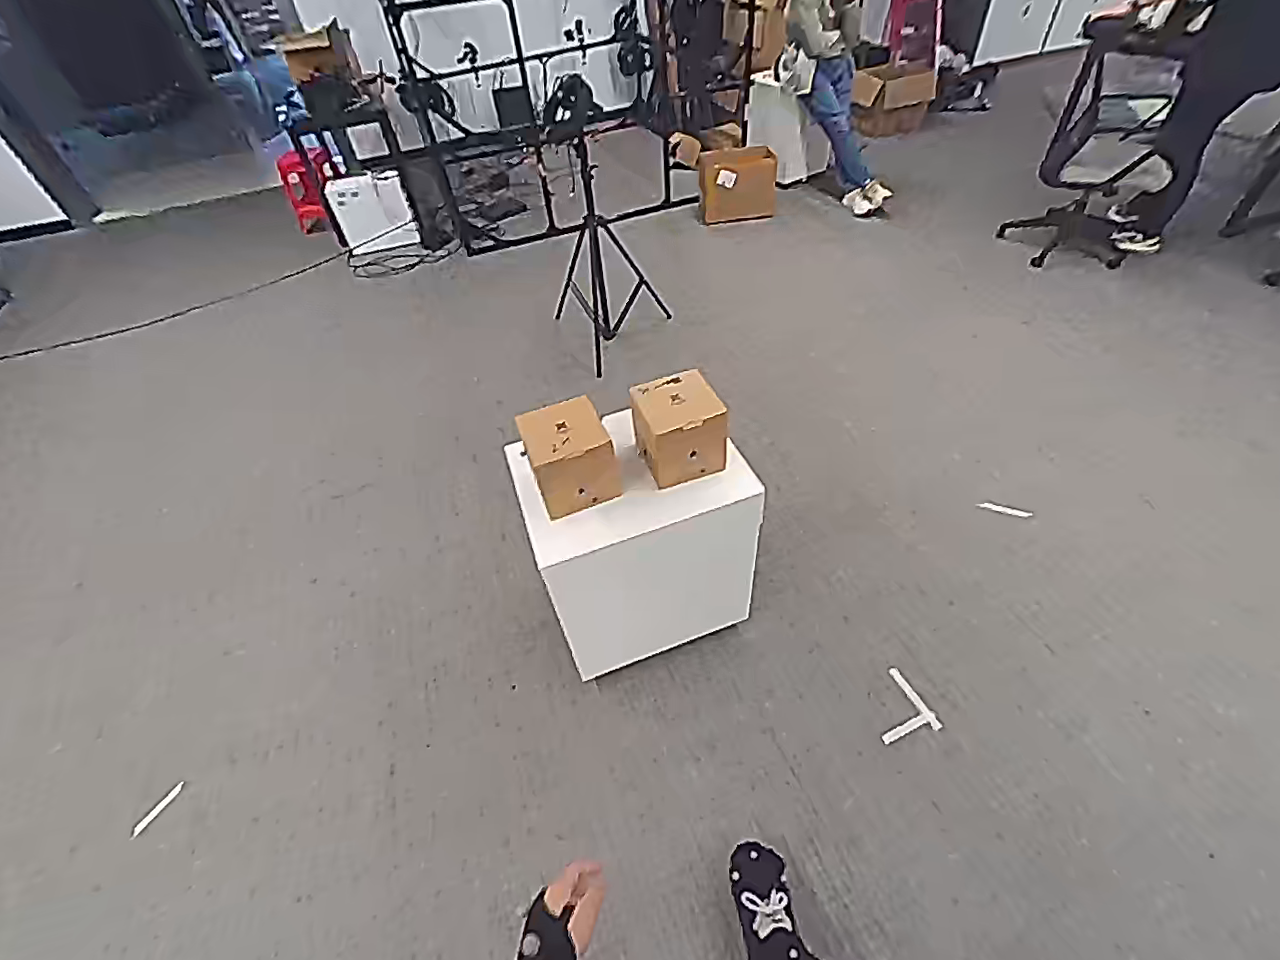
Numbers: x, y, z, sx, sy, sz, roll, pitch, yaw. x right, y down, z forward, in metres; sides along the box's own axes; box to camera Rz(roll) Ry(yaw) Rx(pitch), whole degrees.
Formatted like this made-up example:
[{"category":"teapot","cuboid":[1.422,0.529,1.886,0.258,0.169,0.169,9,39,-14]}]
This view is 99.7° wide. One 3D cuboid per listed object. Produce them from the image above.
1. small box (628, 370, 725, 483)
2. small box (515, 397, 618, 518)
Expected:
[{"category":"small box","cuboid":[0.081,-0.112,1.211,0.168,0.176,0.179,-17,48,-10]},{"category":"small box","cuboid":[-0.158,-0.048,1.178,0.168,0.176,0.179,-20,48,-12]}]
